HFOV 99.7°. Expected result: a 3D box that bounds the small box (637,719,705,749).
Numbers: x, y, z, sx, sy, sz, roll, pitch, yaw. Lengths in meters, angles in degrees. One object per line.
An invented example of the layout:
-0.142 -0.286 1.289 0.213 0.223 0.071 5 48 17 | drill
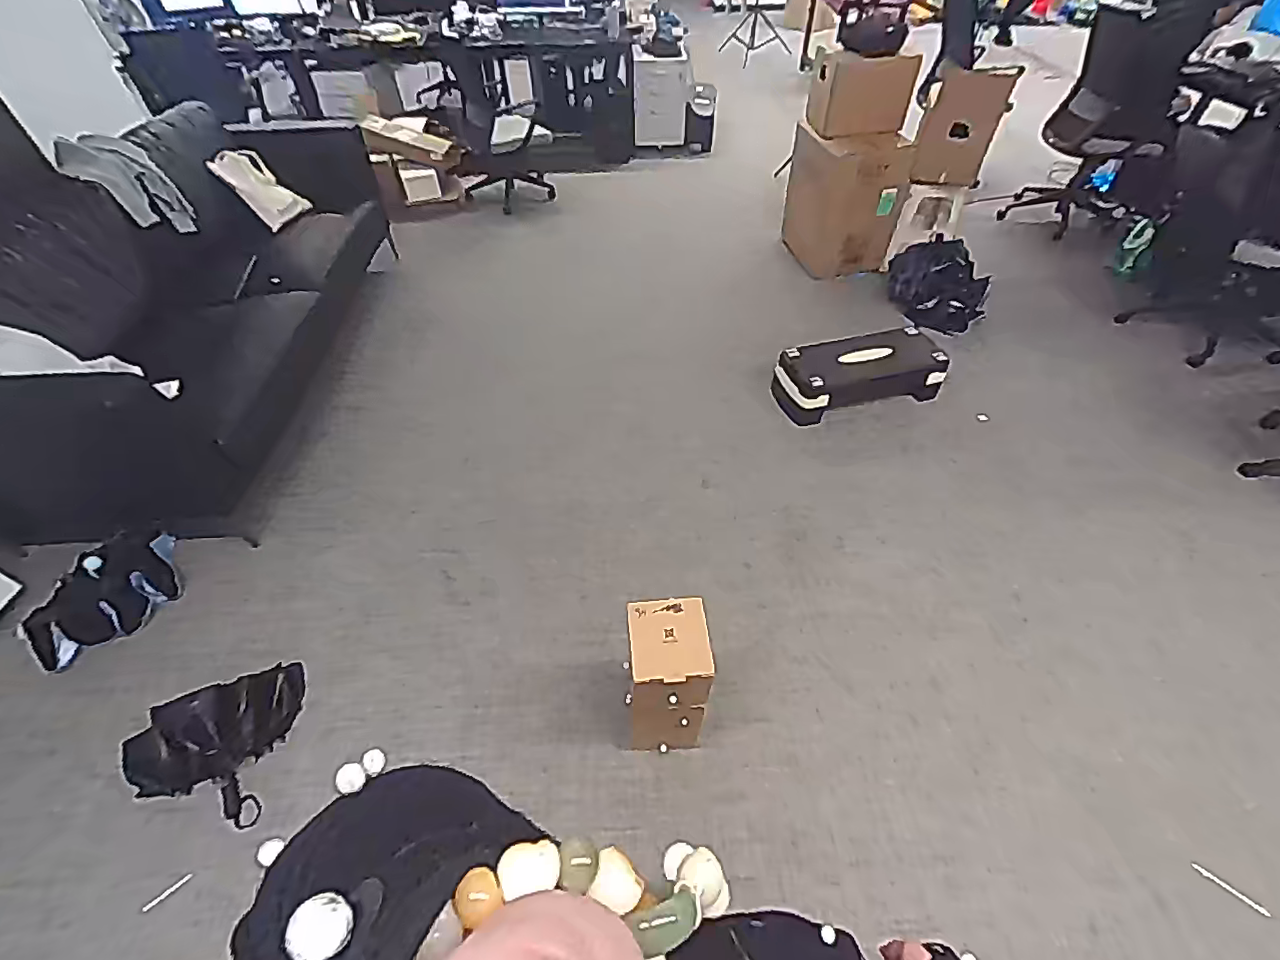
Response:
0.074 0.586 1.418 0.168 0.176 0.179 -3 49 0 | small box

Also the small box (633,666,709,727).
0.069 0.480 1.296 0.168 0.176 0.179 -3 48 -2 | small box

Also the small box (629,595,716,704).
0.067 0.373 1.173 0.168 0.176 0.179 -5 50 -3 | small box
